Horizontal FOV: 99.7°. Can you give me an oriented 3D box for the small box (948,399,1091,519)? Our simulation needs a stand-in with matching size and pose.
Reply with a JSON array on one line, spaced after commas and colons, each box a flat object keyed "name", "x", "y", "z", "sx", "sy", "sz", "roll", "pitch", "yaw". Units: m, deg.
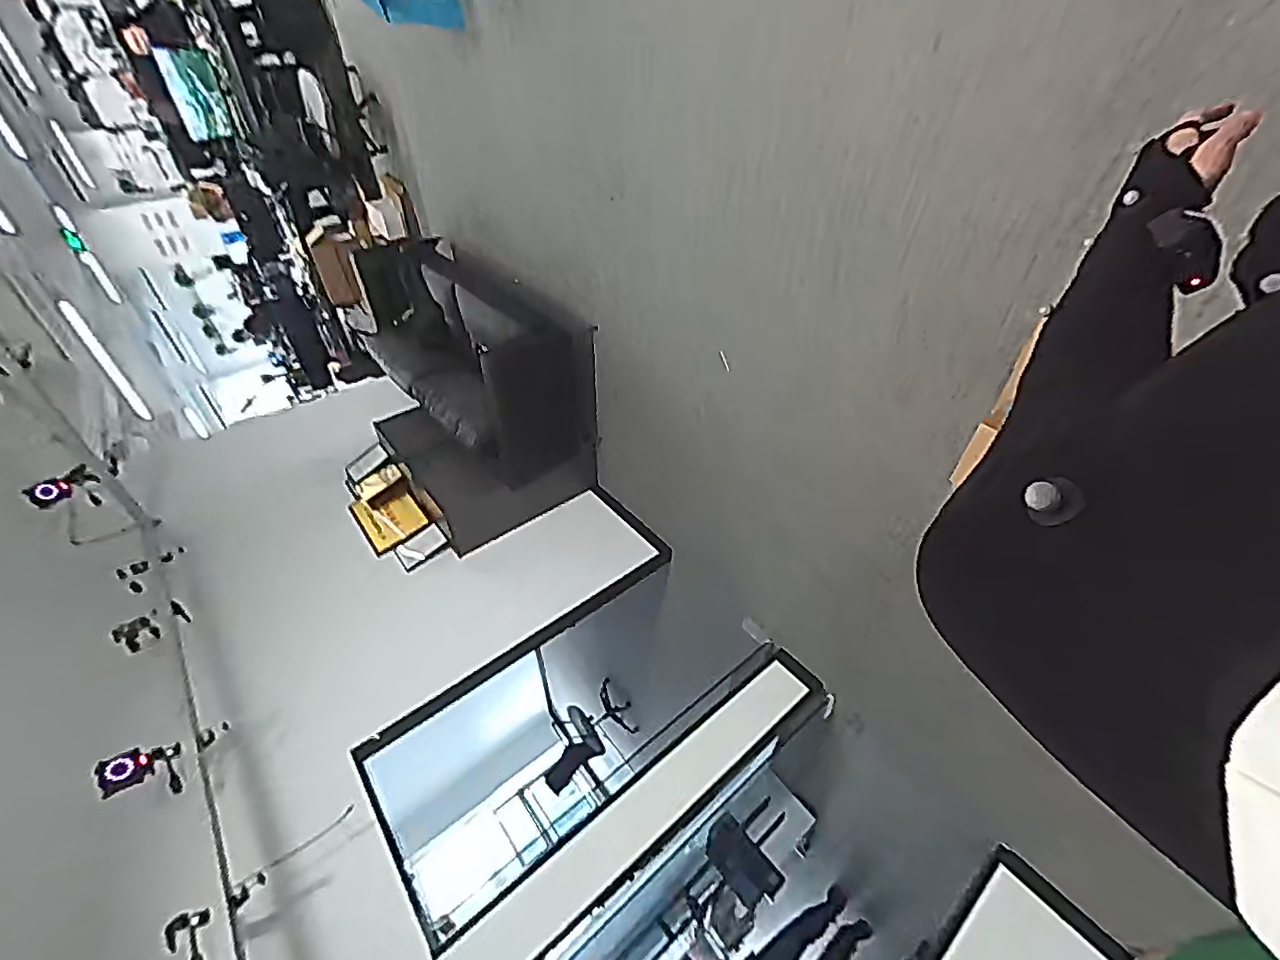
[{"name": "small box", "x": 0.829, "y": -0.054, "z": 1.182, "sx": 0.179, "sy": 0.176, "sz": 0.168, "roll": 39, "pitch": 143, "yaw": 34}]

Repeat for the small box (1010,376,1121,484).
[{"name": "small box", "x": 0.956, "y": -0.125, "z": 1.259, "sx": 0.179, "sy": 0.176, "sz": 0.168, "roll": 38, "pitch": 143, "yaw": 34}]
